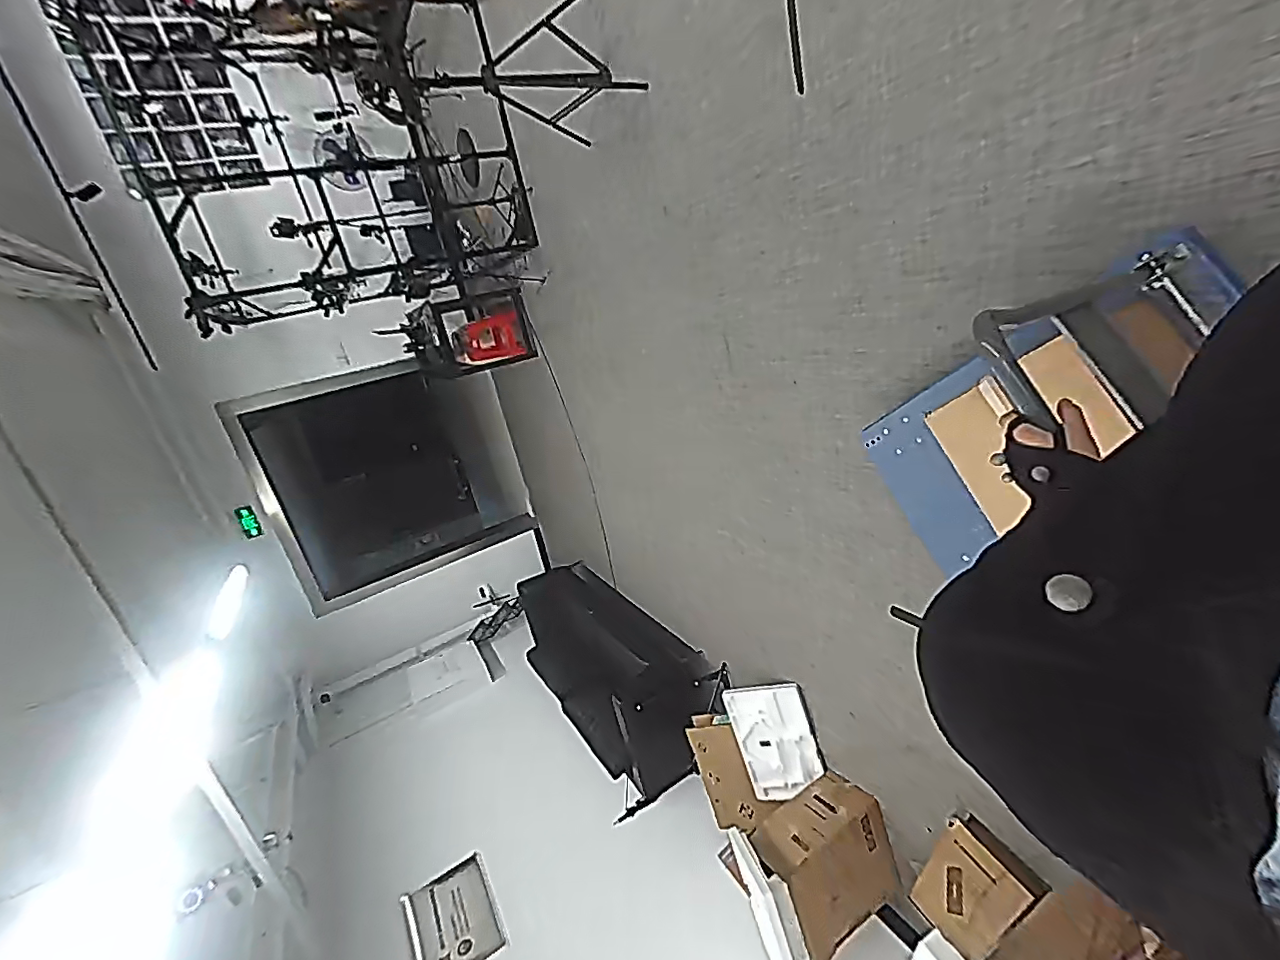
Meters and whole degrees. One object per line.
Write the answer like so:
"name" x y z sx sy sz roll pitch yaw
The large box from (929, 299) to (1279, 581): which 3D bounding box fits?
"large box" 0.877 -0.070 1.043 0.408 0.320 0.320 64 155 12
